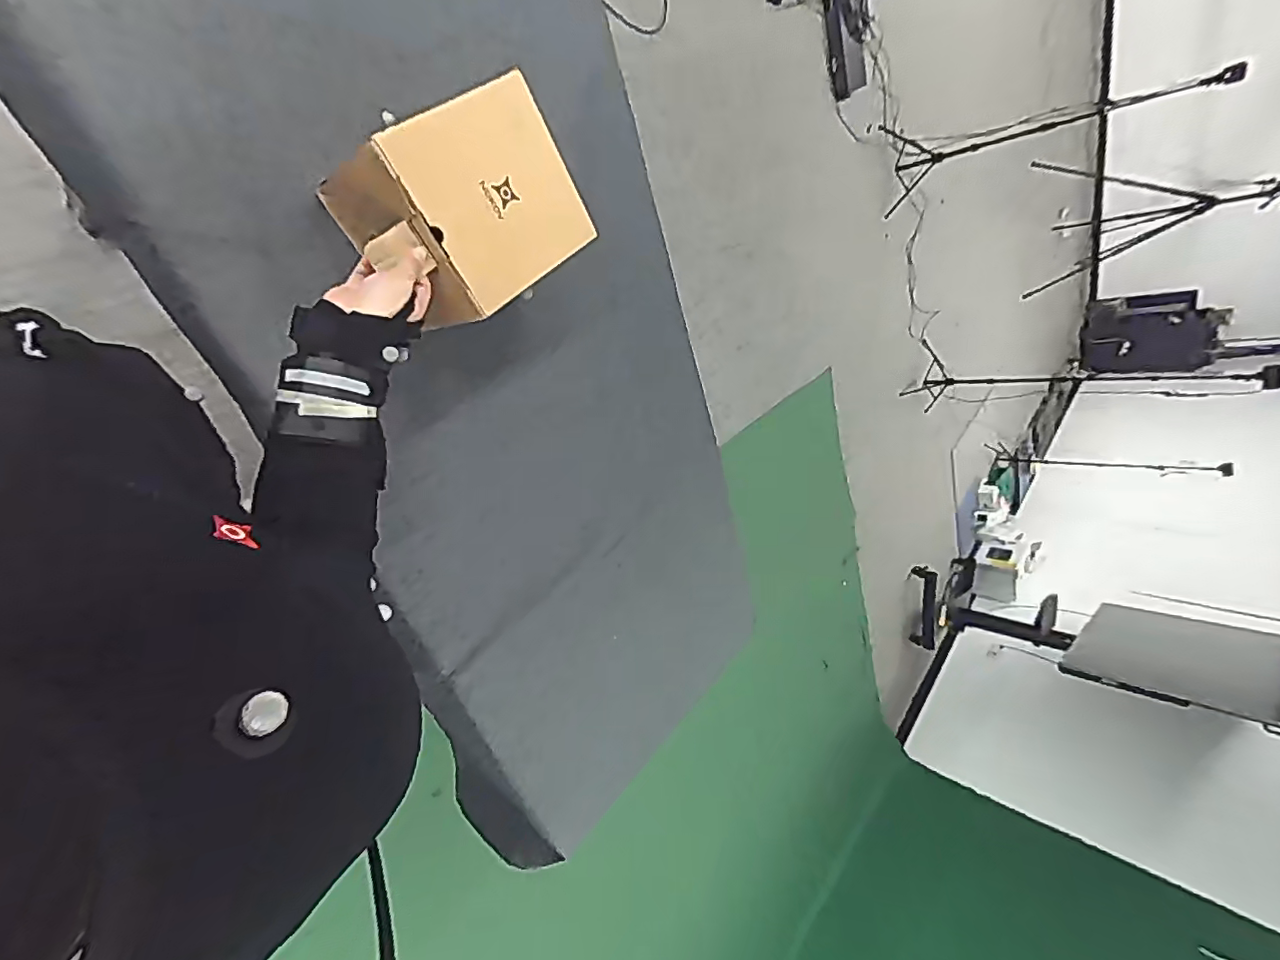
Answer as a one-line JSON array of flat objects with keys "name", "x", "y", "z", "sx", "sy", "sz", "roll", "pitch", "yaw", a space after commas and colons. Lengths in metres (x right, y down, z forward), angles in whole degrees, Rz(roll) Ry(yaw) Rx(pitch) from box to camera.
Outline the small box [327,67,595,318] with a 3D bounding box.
[{"name": "small box", "x": -0.187, "y": -0.290, "z": 0.574, "sx": 0.179, "sy": 0.176, "sz": 0.168, "roll": -49, "pitch": 128, "yaw": -26}]
